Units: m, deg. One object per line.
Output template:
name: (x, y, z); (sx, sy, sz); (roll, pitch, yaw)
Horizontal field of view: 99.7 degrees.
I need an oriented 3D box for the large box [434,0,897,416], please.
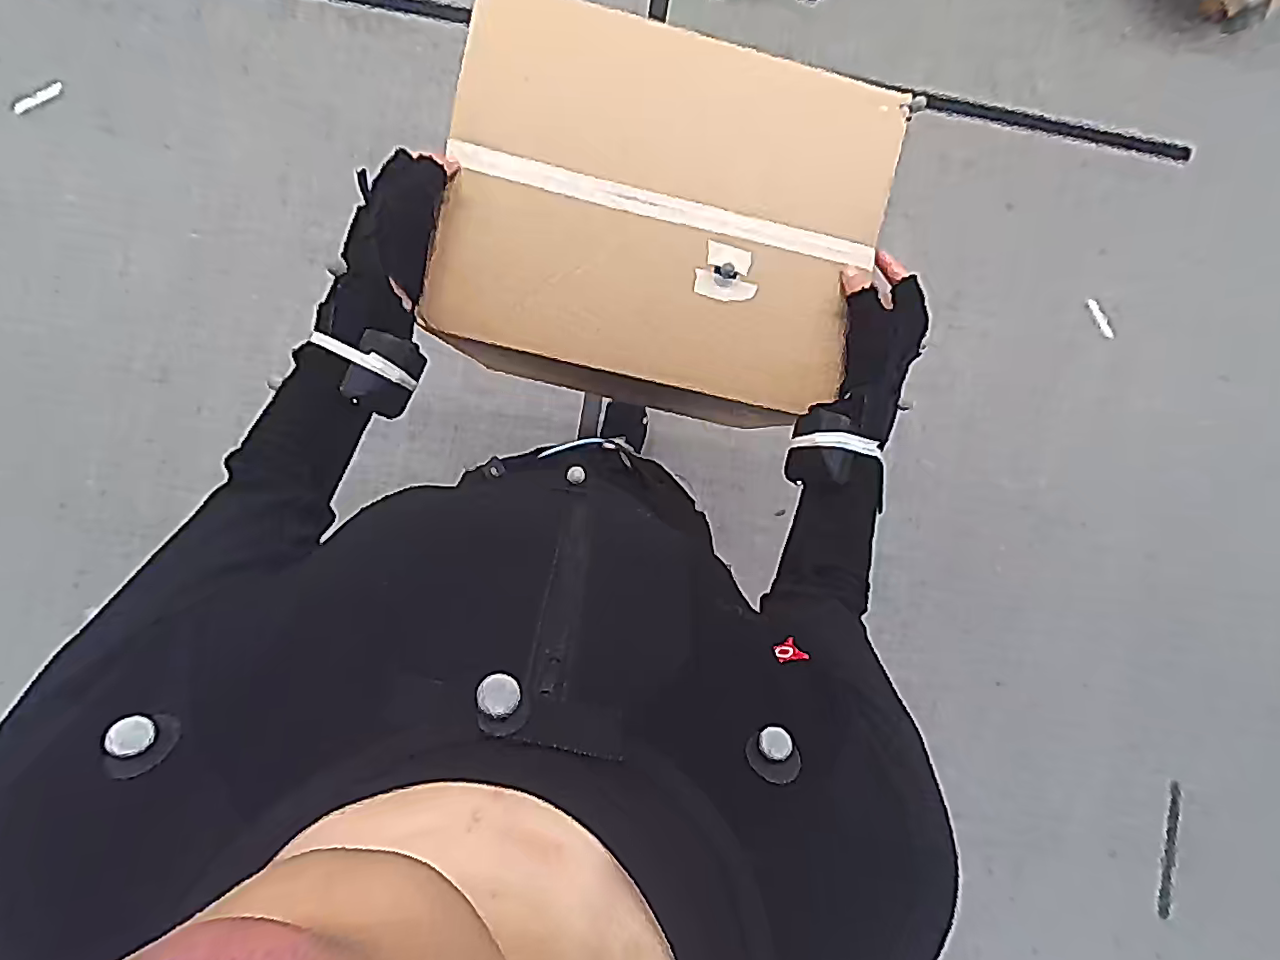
large box: (0.015, -0.273, 0.662); (0.408, 0.320, 0.320); (12, 94, -5)
